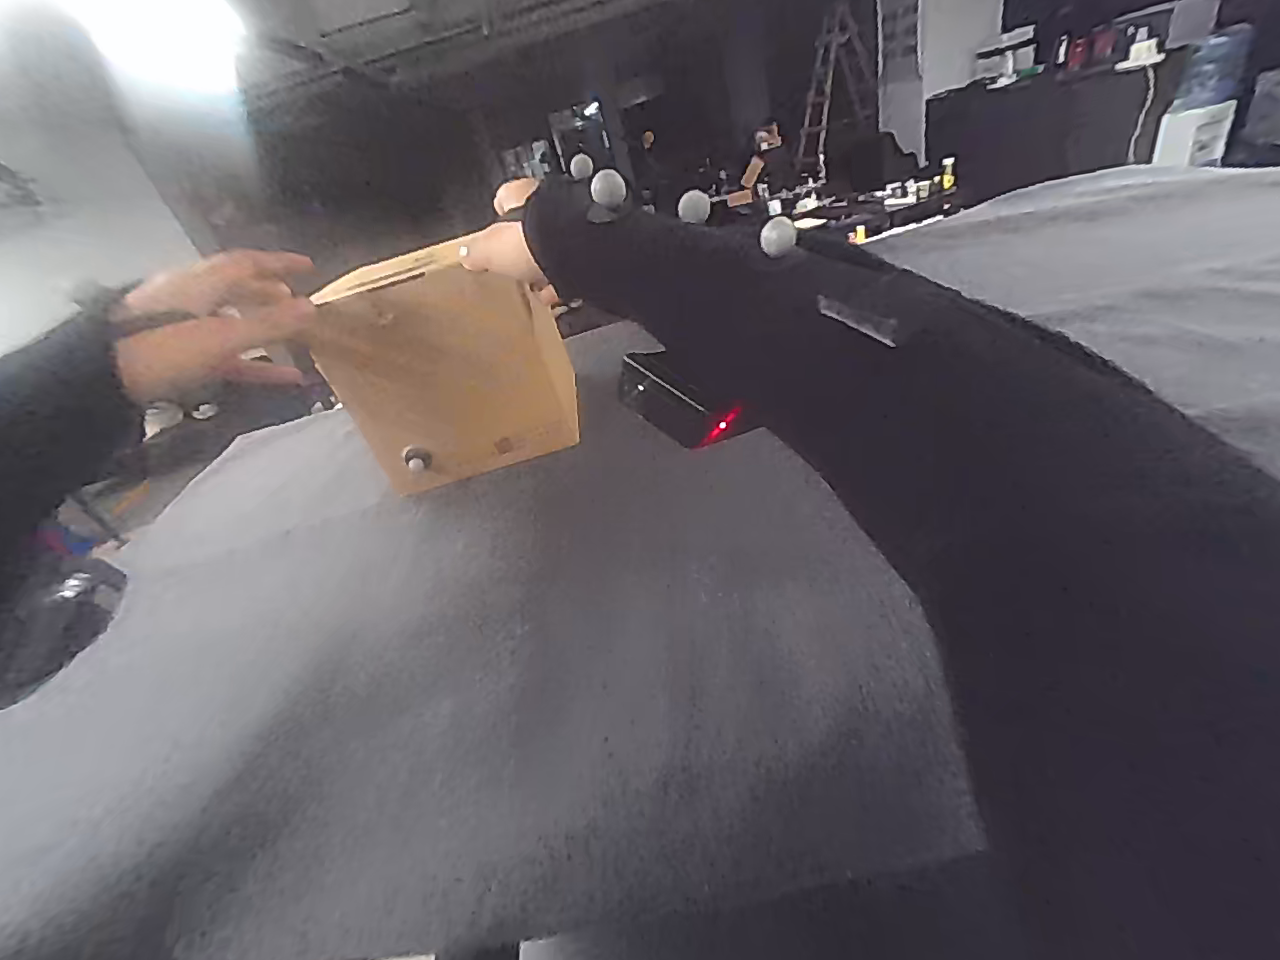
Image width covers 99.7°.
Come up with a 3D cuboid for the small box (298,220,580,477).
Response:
[{"bbox_3d":[-0.158,-0.118,0.497,0.168,0.176,0.179,-16,31,2],"label":"small box"}]
